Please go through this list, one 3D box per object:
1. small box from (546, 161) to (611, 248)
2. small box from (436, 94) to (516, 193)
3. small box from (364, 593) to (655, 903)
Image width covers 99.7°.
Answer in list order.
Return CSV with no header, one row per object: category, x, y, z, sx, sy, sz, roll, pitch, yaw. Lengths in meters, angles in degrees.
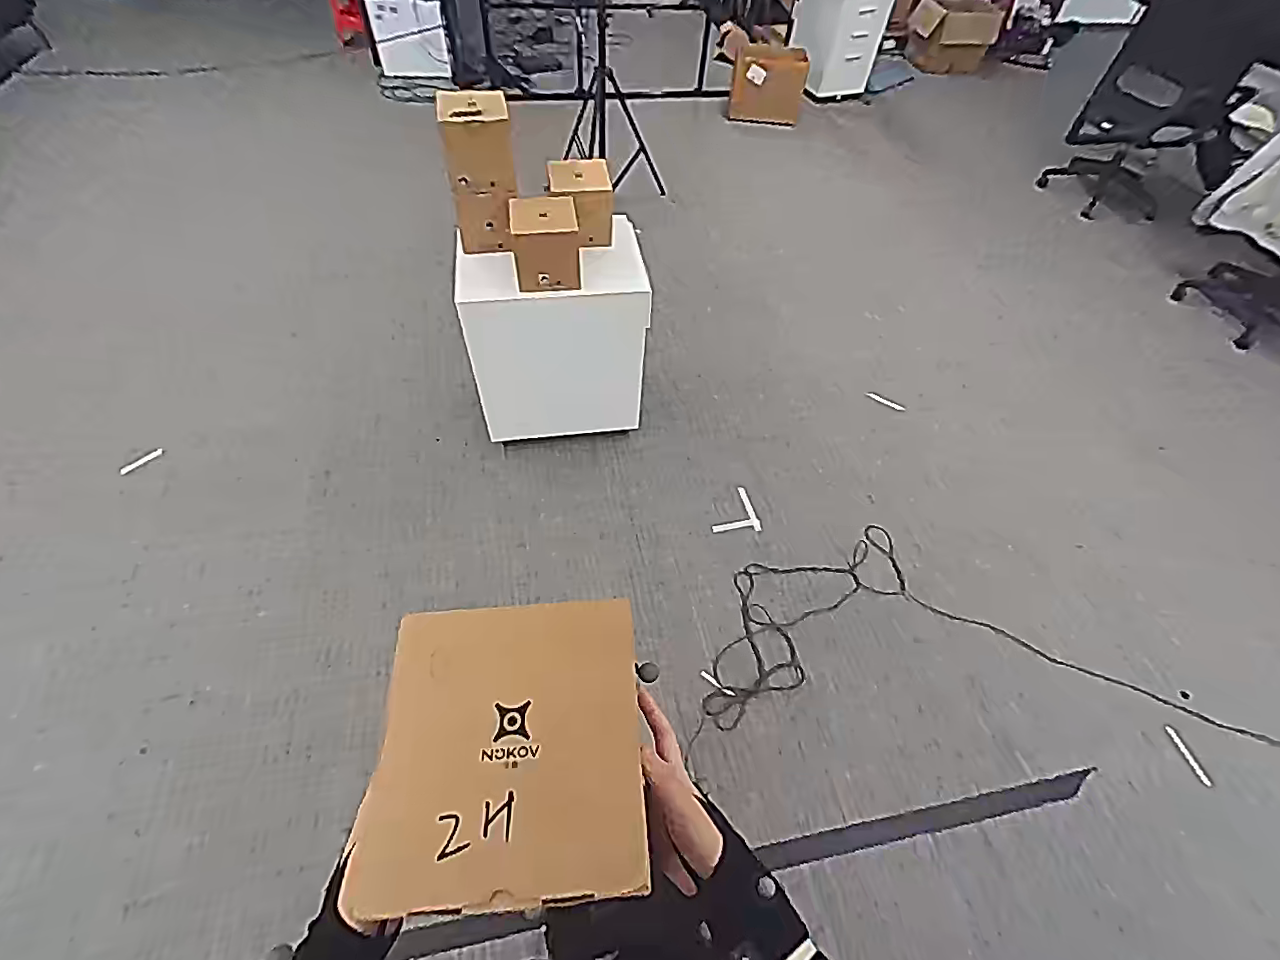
small box,-0.175,-0.782,1.547,0.168,0.176,0.179,-6,55,-7
small box,-0.415,-0.851,1.375,0.168,0.176,0.179,-9,55,-11
small box,-0.078,0.204,0.416,0.168,0.176,0.179,-4,57,-2
